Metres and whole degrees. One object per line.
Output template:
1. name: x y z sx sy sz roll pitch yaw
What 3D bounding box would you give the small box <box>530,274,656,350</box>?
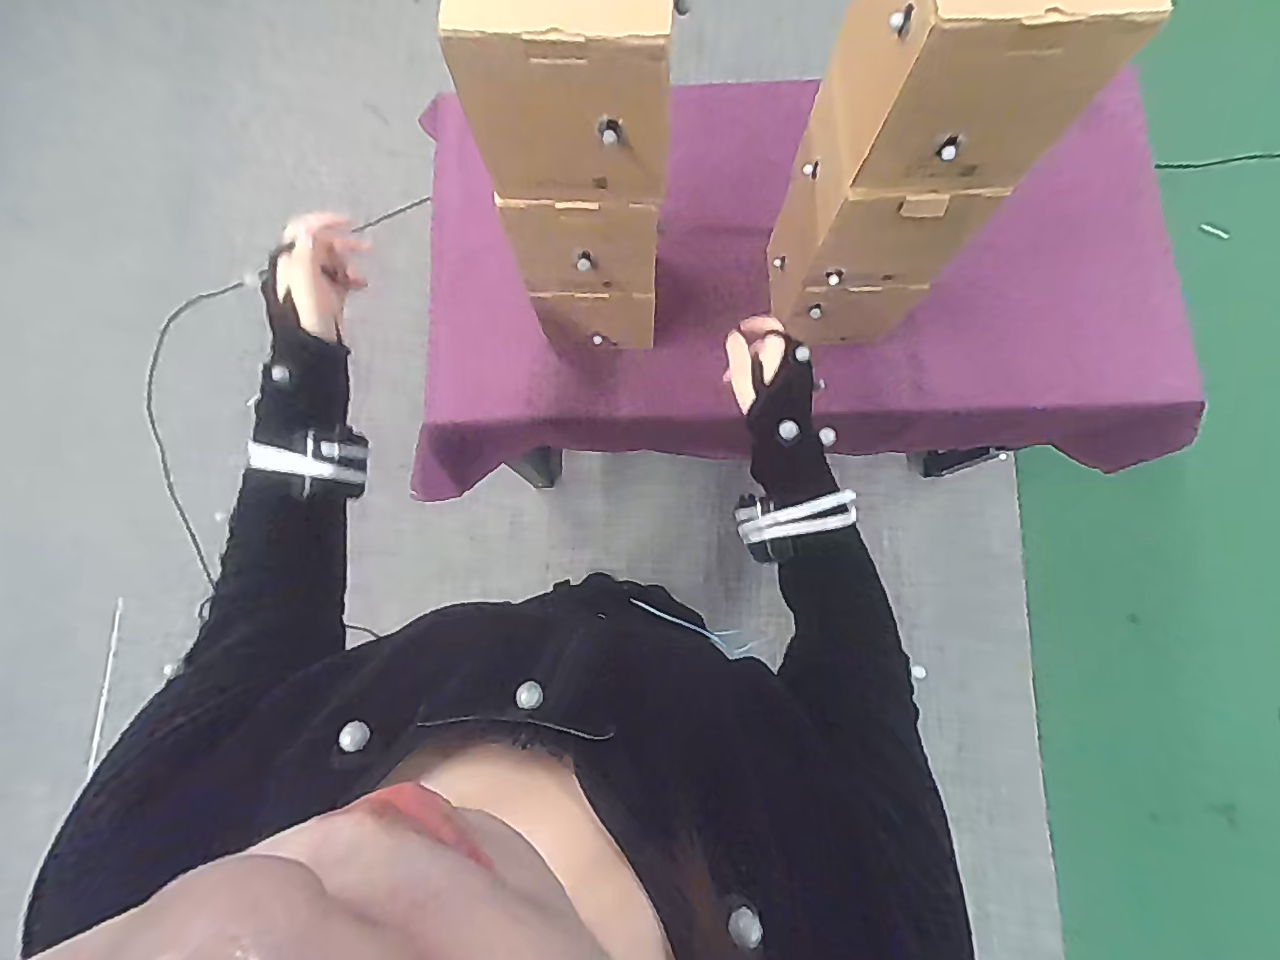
1. small box: -0.060 -0.308 0.792 0.168 0.176 0.179 0 80 1

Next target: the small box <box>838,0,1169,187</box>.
1. small box: 0.286 -0.391 0.471 0.168 0.176 0.179 -2 80 0

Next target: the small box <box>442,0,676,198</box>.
1. small box: -0.054 -0.376 0.471 0.168 0.176 0.179 3 78 0

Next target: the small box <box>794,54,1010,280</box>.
1. small box: 0.285 -0.351 0.630 0.168 0.176 0.179 -1 78 1

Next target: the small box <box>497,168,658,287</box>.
1. small box: -0.062 -0.342 0.632 0.168 0.176 0.179 0 80 0
